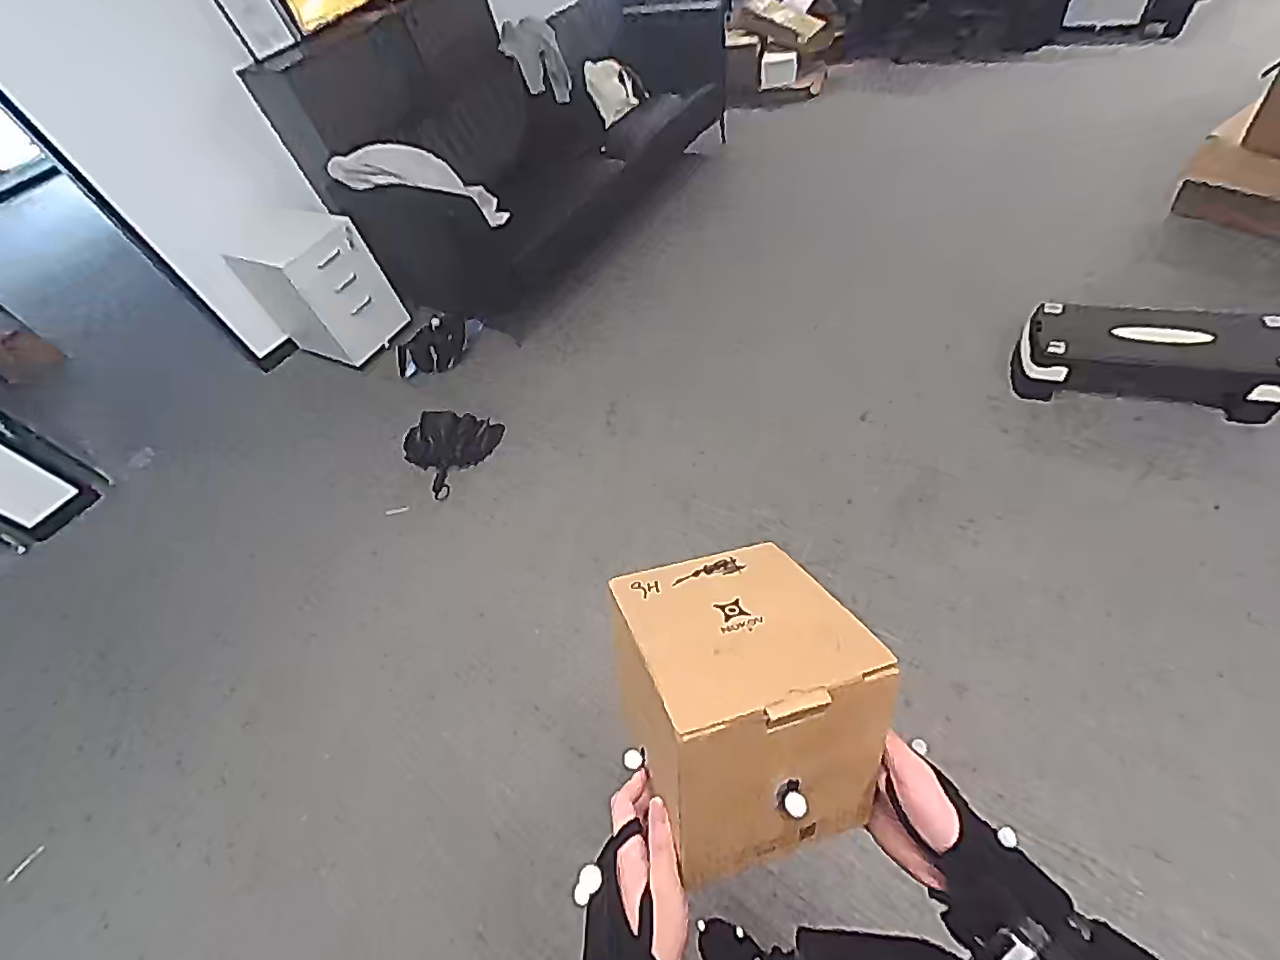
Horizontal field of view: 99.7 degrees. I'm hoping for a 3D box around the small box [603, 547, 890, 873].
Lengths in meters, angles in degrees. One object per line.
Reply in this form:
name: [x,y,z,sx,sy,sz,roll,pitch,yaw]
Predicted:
small box: [0.073,0.184,0.451,0.168,0.176,0.179,-10,27,-14]
